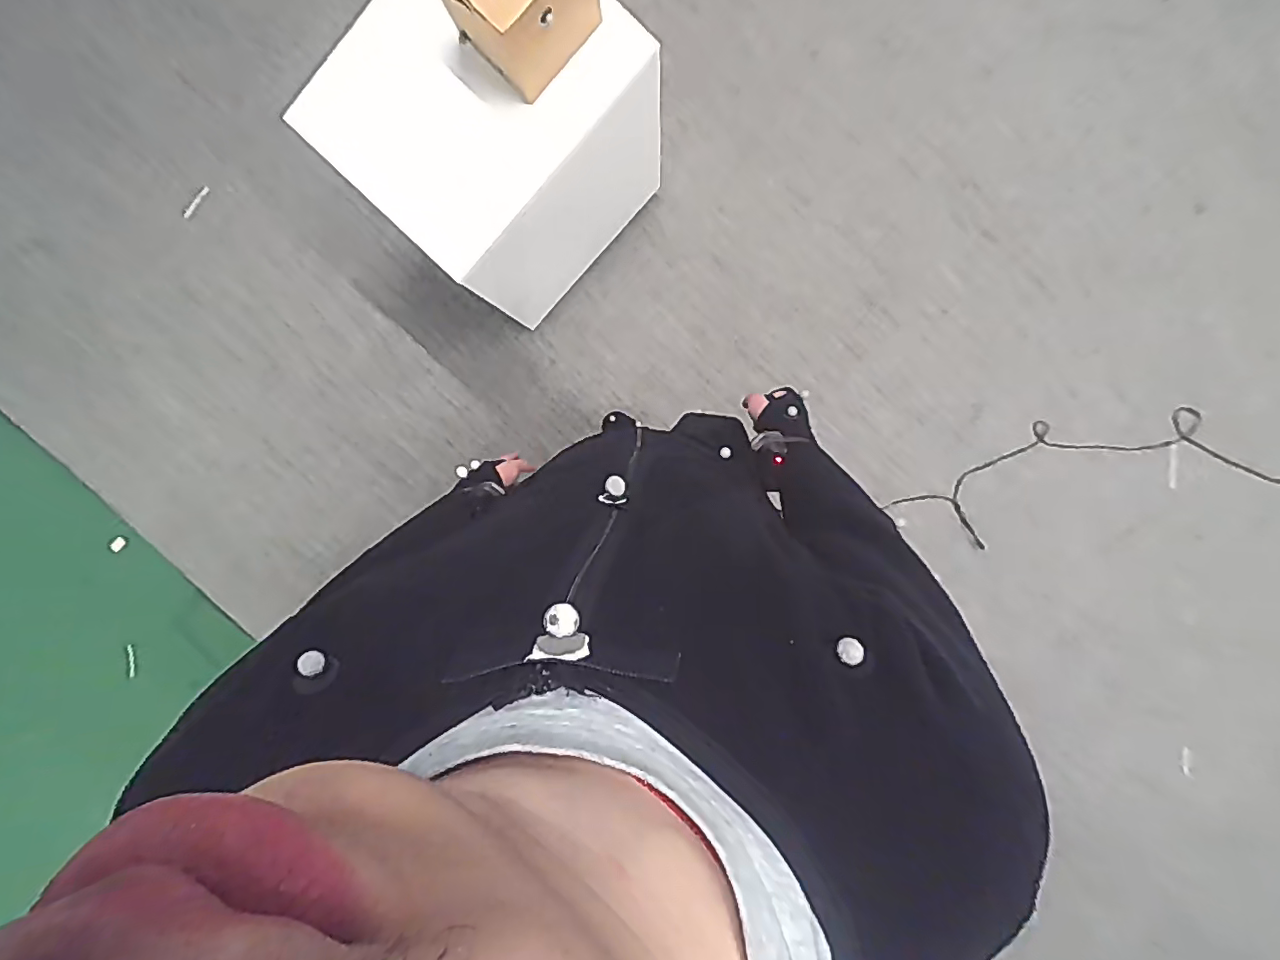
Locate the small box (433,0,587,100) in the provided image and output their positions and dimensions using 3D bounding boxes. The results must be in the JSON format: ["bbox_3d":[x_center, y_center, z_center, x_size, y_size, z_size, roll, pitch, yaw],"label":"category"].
[{"bbox_3d":[-0.190,-0.705,0.775,0.168,0.176,0.179,43,94,-5],"label":"small box"}]
